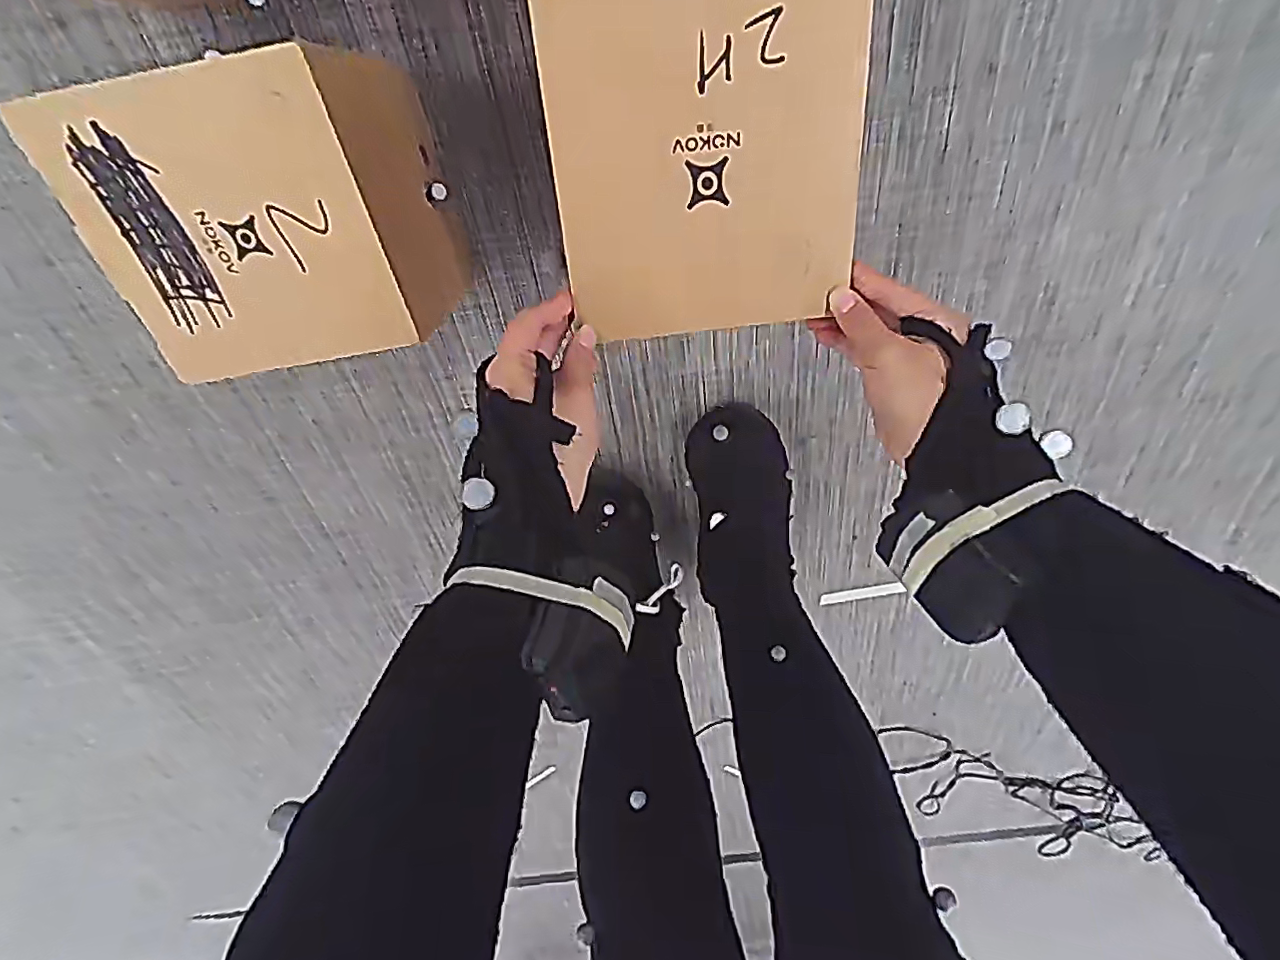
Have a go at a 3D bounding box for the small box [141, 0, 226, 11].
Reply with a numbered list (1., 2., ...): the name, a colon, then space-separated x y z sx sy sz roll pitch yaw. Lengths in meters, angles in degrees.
1. small box: -0.271 -0.365 0.272 0.179 0.176 0.168 -7 124 2

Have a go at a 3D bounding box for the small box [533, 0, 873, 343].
1. small box: 0.031 -0.205 0.360 0.168 0.176 0.179 -7 118 -2
